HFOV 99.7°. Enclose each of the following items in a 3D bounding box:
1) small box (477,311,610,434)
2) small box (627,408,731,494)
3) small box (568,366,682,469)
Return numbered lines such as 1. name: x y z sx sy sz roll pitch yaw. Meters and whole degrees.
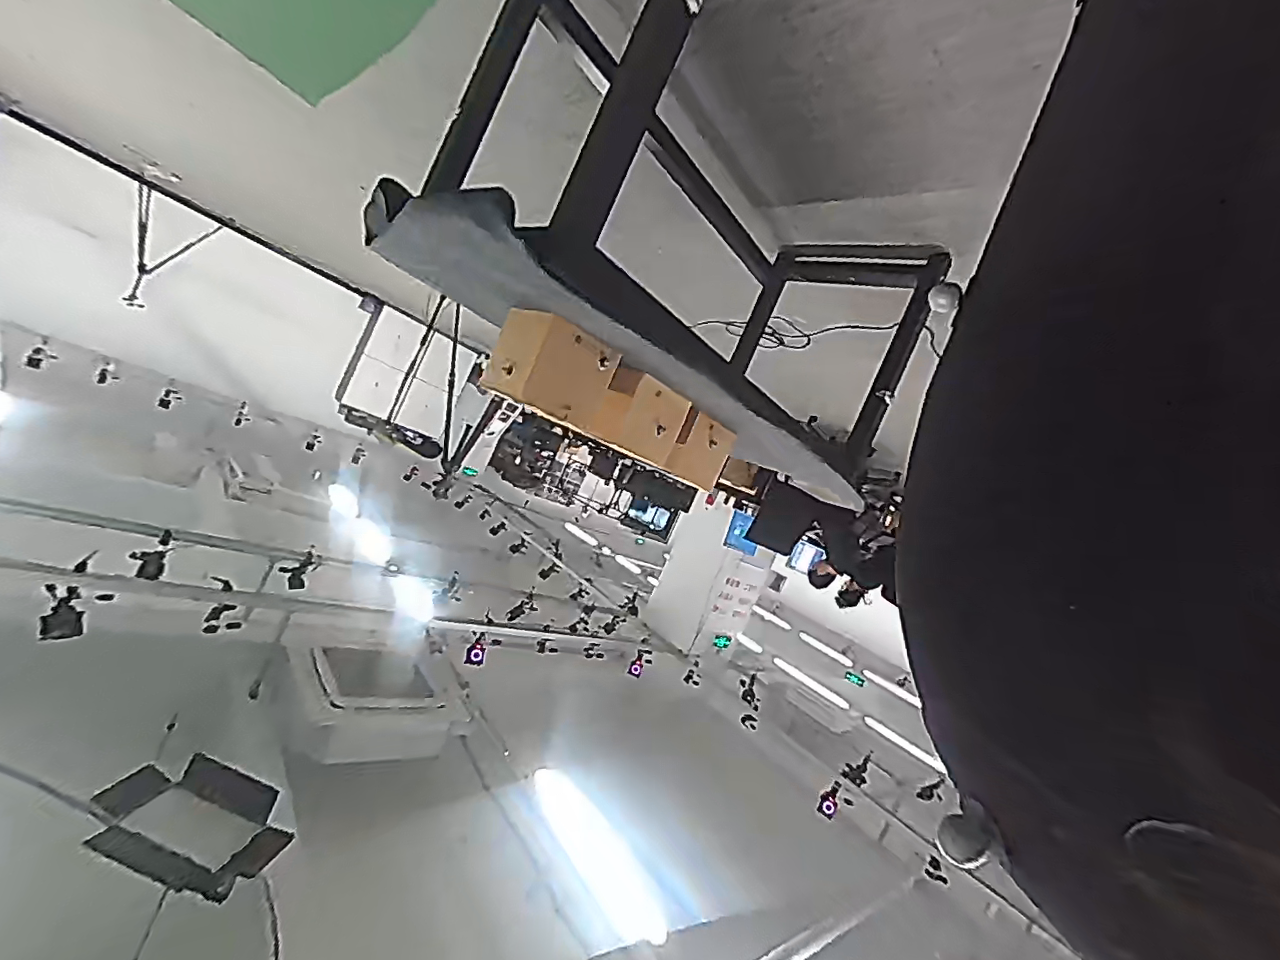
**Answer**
1. small box: -0.180 -0.209 1.040 0.168 0.176 0.179 24 -178 -43
2. small box: 0.102 -0.087 1.388 0.168 0.176 0.179 23 -179 -43
3. small box: -0.026 -0.145 1.213 0.168 0.176 0.179 23 -179 -44
